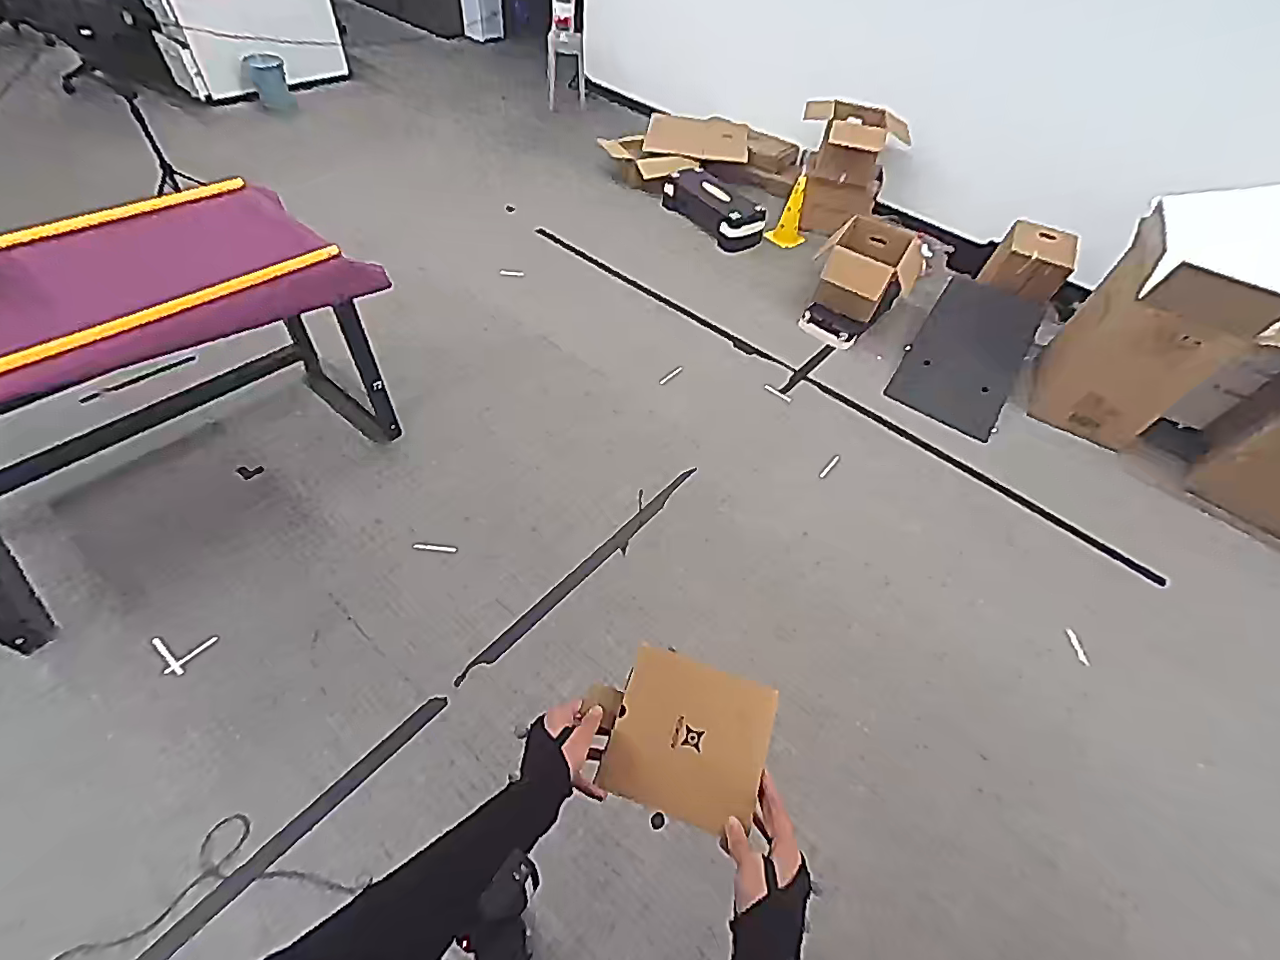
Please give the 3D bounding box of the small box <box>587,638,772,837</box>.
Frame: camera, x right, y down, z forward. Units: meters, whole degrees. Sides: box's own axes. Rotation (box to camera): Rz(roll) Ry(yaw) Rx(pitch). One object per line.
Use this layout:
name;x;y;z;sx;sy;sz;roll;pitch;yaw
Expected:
small box;0.052;0.321;0.686;0.179;0.176;0.168;15;63;12
